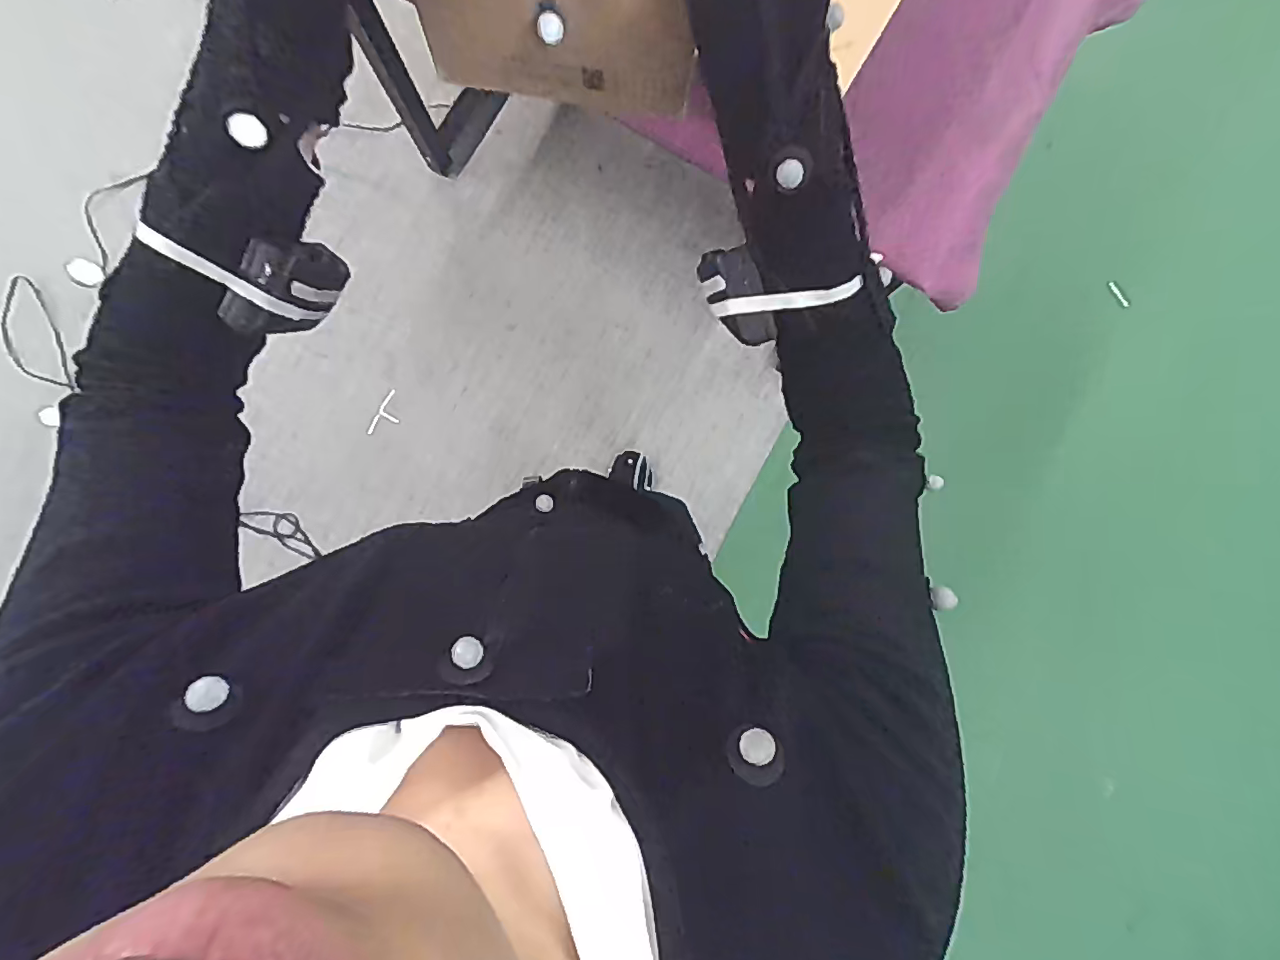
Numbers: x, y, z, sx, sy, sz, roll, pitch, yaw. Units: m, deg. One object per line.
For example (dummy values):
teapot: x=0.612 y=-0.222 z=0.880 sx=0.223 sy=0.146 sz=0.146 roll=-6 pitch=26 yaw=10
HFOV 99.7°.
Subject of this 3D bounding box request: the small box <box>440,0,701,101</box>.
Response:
small box: x=-0.034 y=-0.365 z=0.302 sx=0.168 sy=0.176 sz=0.179 roll=8 pitch=78 yaw=-1
